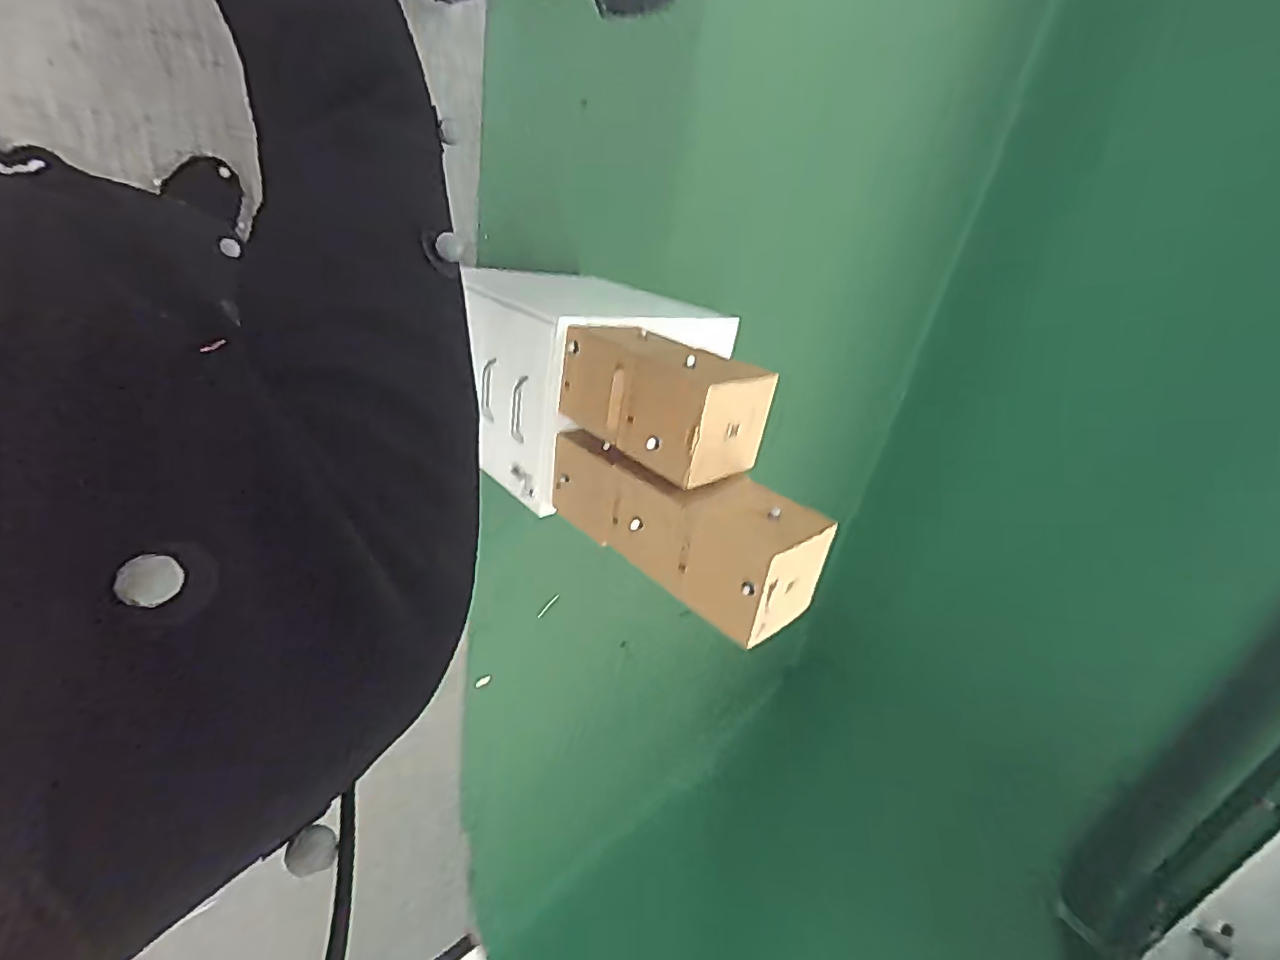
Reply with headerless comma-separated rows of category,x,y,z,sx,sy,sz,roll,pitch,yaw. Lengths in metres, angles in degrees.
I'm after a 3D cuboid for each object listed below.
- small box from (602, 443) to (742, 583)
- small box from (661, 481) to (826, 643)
small box,0.050,0.050,0.964,0.179,0.176,0.168,-19,128,-40
small box,0.161,0.118,0.865,0.179,0.176,0.168,-18,126,-42
